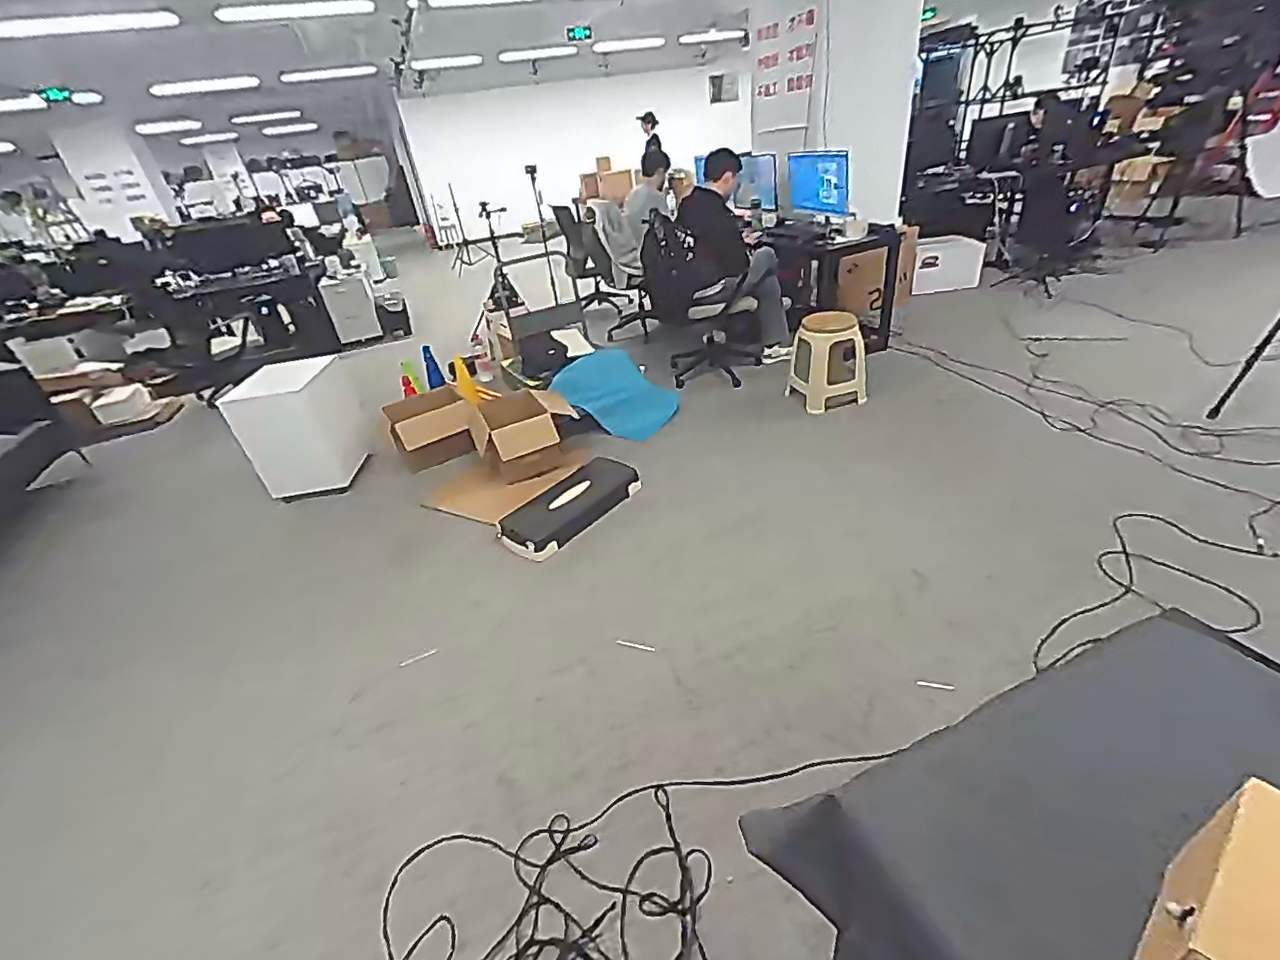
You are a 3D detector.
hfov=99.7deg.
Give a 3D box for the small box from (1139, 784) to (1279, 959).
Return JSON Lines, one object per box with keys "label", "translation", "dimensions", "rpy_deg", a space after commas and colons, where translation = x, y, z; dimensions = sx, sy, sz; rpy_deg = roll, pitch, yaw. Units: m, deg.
{"label": "small box", "translation": [0.501, 0.379, 0.392], "dimensions": [0.179, 0.176, 0.168], "rpy_deg": [-30, 38, -28]}
